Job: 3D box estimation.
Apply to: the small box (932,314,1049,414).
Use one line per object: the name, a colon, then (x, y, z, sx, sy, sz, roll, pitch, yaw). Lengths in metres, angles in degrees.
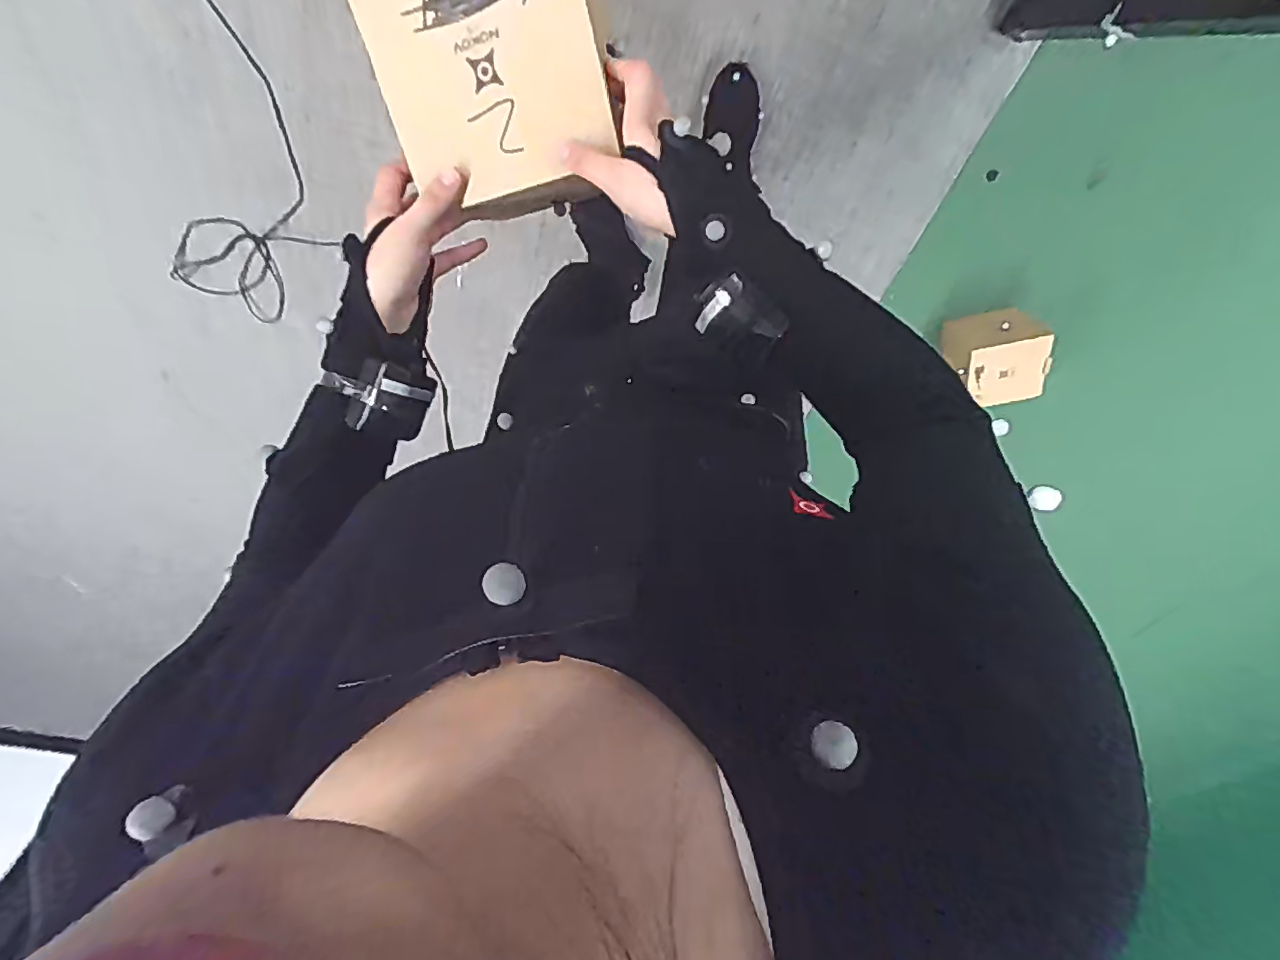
small box: (0.850, -0.290, 1.330, 0.179, 0.176, 0.168, -10, 128, 9)
